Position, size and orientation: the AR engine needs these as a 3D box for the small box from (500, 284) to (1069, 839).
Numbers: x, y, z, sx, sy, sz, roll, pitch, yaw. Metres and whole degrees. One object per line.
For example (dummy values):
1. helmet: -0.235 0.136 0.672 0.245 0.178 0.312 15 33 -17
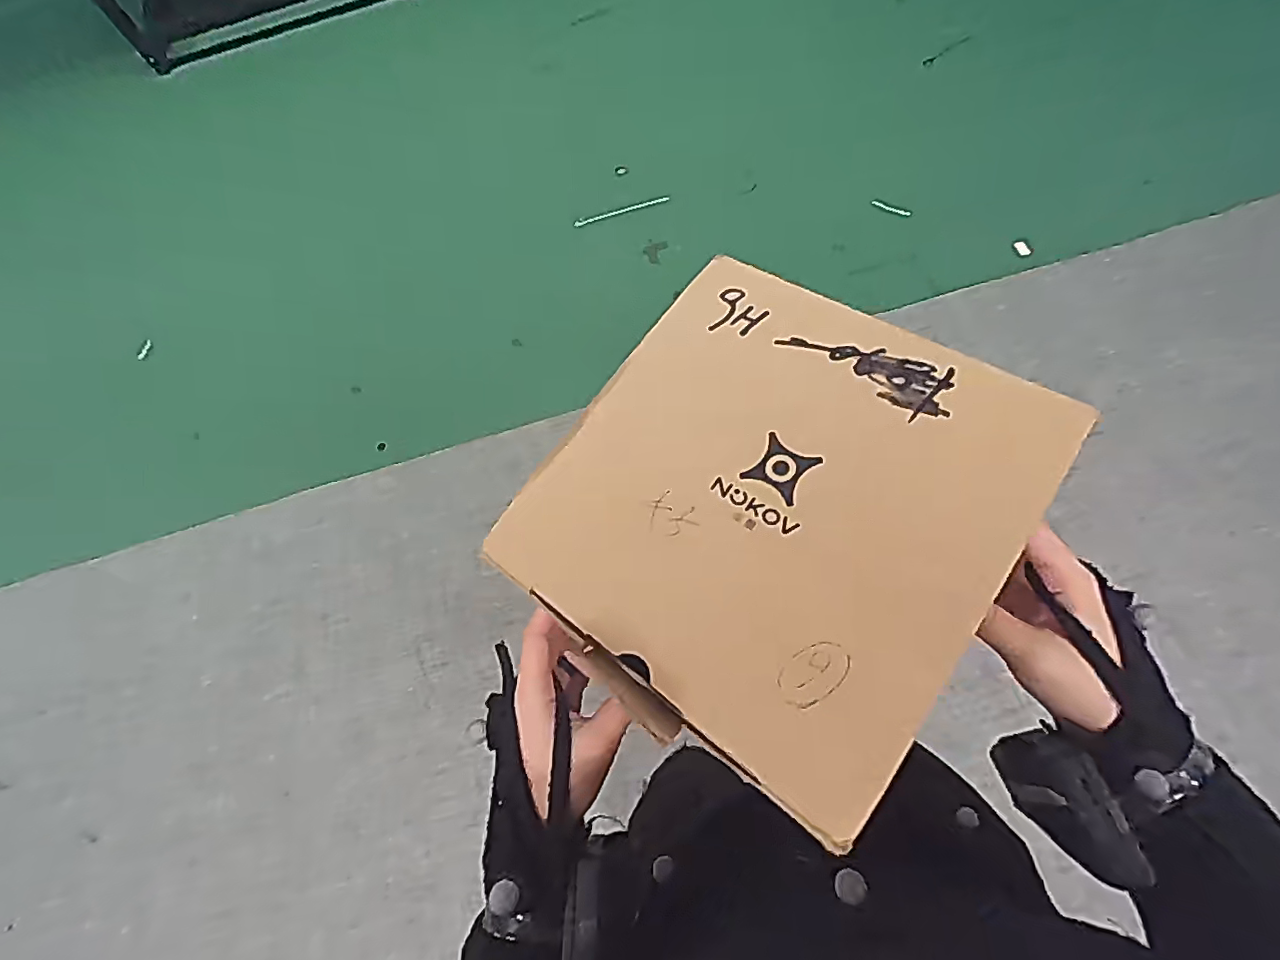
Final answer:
1. small box: 0.067 0.040 0.291 0.168 0.176 0.179 33 78 22
